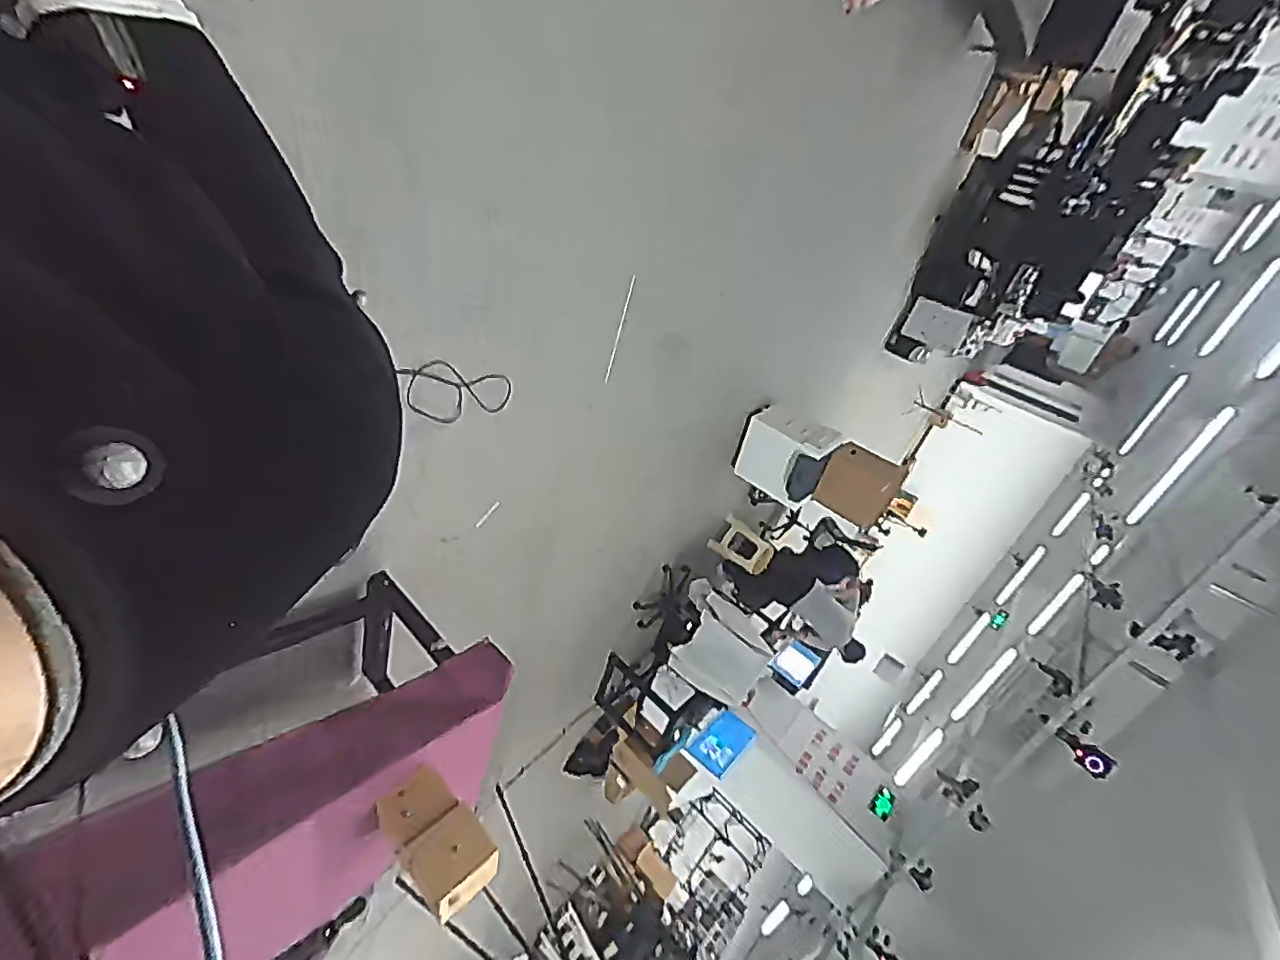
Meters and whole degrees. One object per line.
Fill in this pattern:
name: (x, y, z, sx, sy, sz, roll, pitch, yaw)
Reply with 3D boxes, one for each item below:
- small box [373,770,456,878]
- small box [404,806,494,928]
small box: (-0.644, 0.971, 1.542, 0.168, 0.176, 0.179, -24, 140, -43)
small box: (-0.518, 1.033, 1.454, 0.179, 0.176, 0.168, -25, 140, -43)
